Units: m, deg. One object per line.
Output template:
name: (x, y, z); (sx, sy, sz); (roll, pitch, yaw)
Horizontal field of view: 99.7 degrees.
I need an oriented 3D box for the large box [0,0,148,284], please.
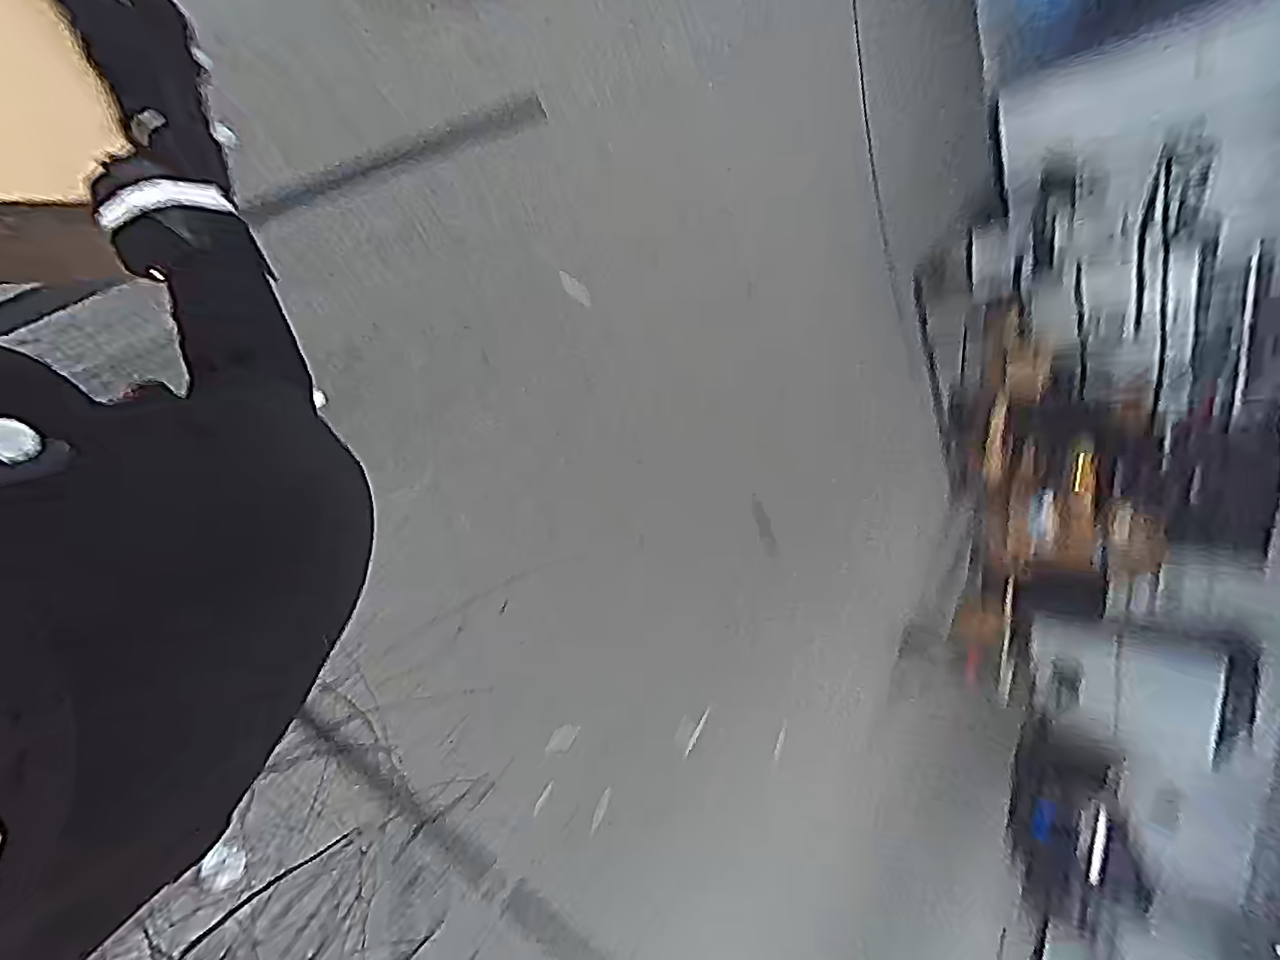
large box: (-0.636, -0.293, 0.330); (0.408, 0.320, 0.320); (-27, 114, -44)
